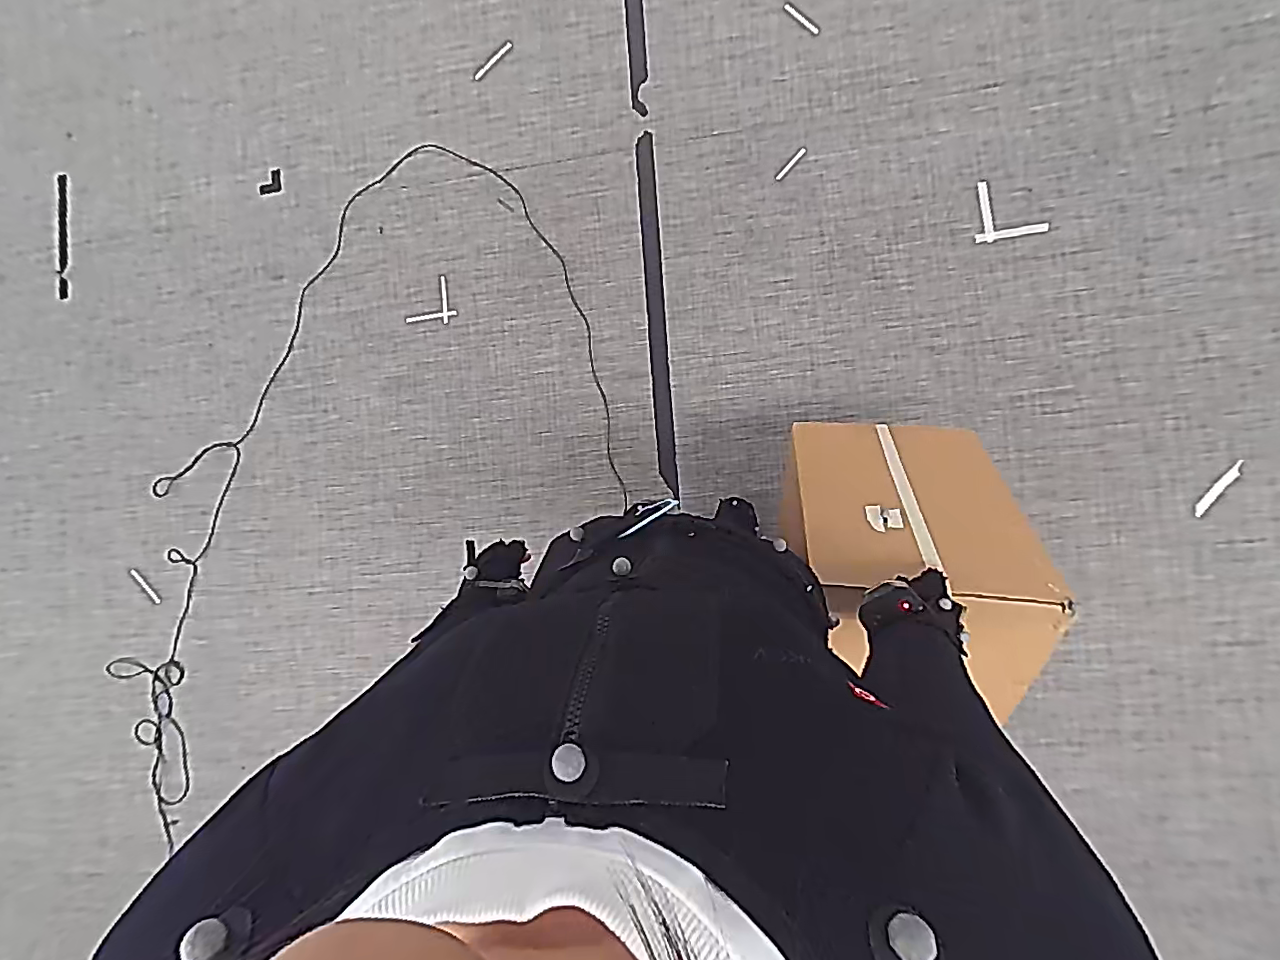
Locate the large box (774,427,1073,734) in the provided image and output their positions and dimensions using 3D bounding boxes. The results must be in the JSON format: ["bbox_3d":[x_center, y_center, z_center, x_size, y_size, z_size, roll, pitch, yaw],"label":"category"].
[{"bbox_3d":[0.411,0.149,0.922,0.320,0.408,0.320,3,128,9],"label":"large box"}]
